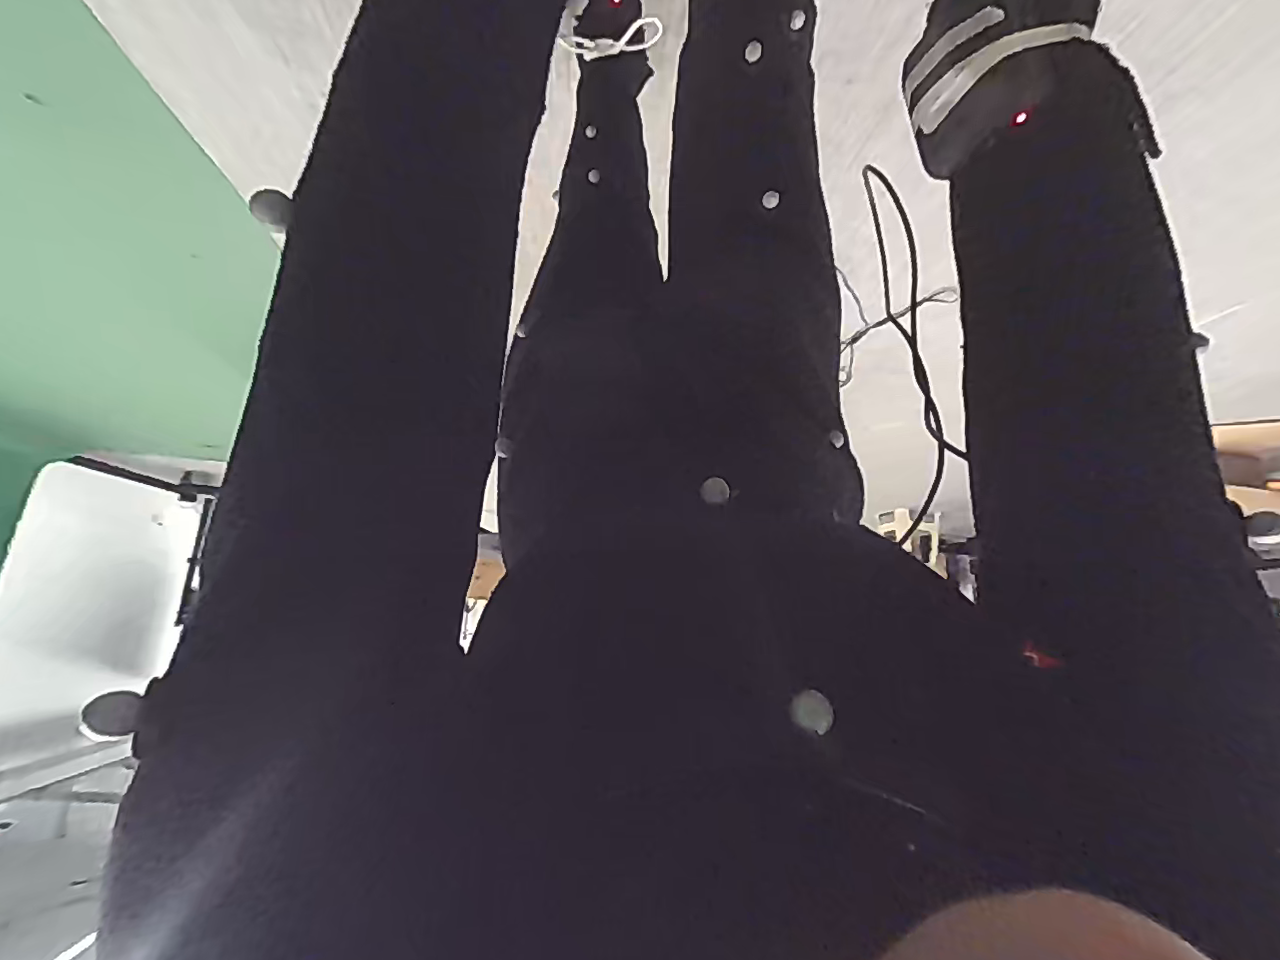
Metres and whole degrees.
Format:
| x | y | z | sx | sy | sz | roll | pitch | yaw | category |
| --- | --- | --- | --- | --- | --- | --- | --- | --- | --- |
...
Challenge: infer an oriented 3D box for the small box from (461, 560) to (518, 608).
| x | y | z | sx | sy | sz | roll | pitch | yaw | category |
| --- | --- | --- | --- | --- | --- | --- | --- | --- | --- |
| -0.588 | 0.410 | 2.130 | 0.168 | 0.176 | 0.179 | 5 | 167 | 1 | small box |
